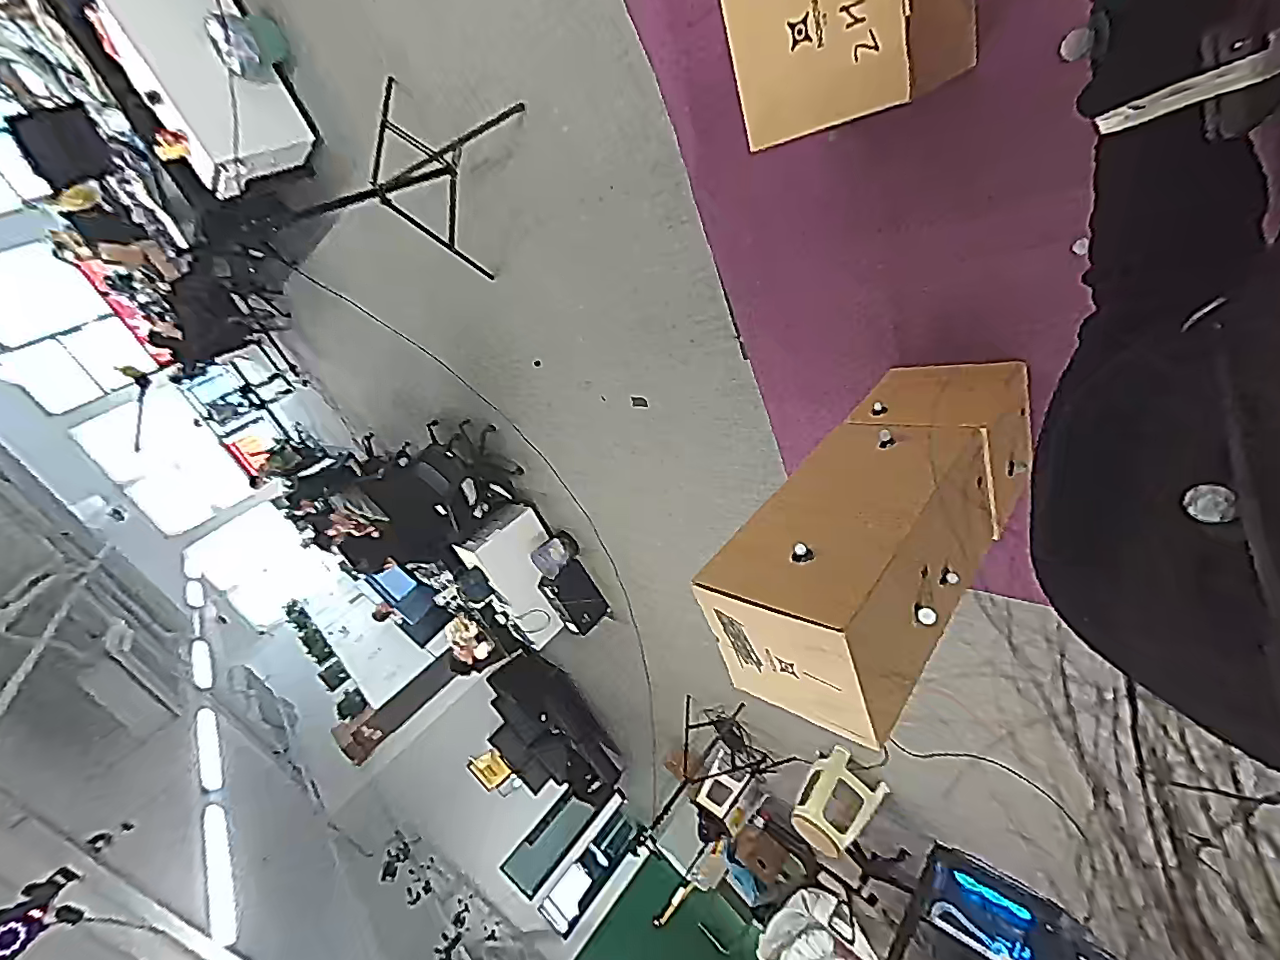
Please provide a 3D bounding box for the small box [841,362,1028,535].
[{"bbox_3d":[0.409,-0.051,0.740,0.179,0.176,0.168,9,131,49],"label":"small box"}]

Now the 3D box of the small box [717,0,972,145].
[{"bbox_3d":[0.204,-0.464,0.538,0.179,0.176,0.168,13,135,45],"label":"small box"}]

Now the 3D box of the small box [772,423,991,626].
[{"bbox_3d":[0.297,0.041,0.662,0.179,0.176,0.168,9,131,50],"label":"small box"}]

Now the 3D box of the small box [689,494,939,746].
[{"bbox_3d":[0.188,0.131,0.576,0.179,0.176,0.168,8,131,48],"label":"small box"}]
